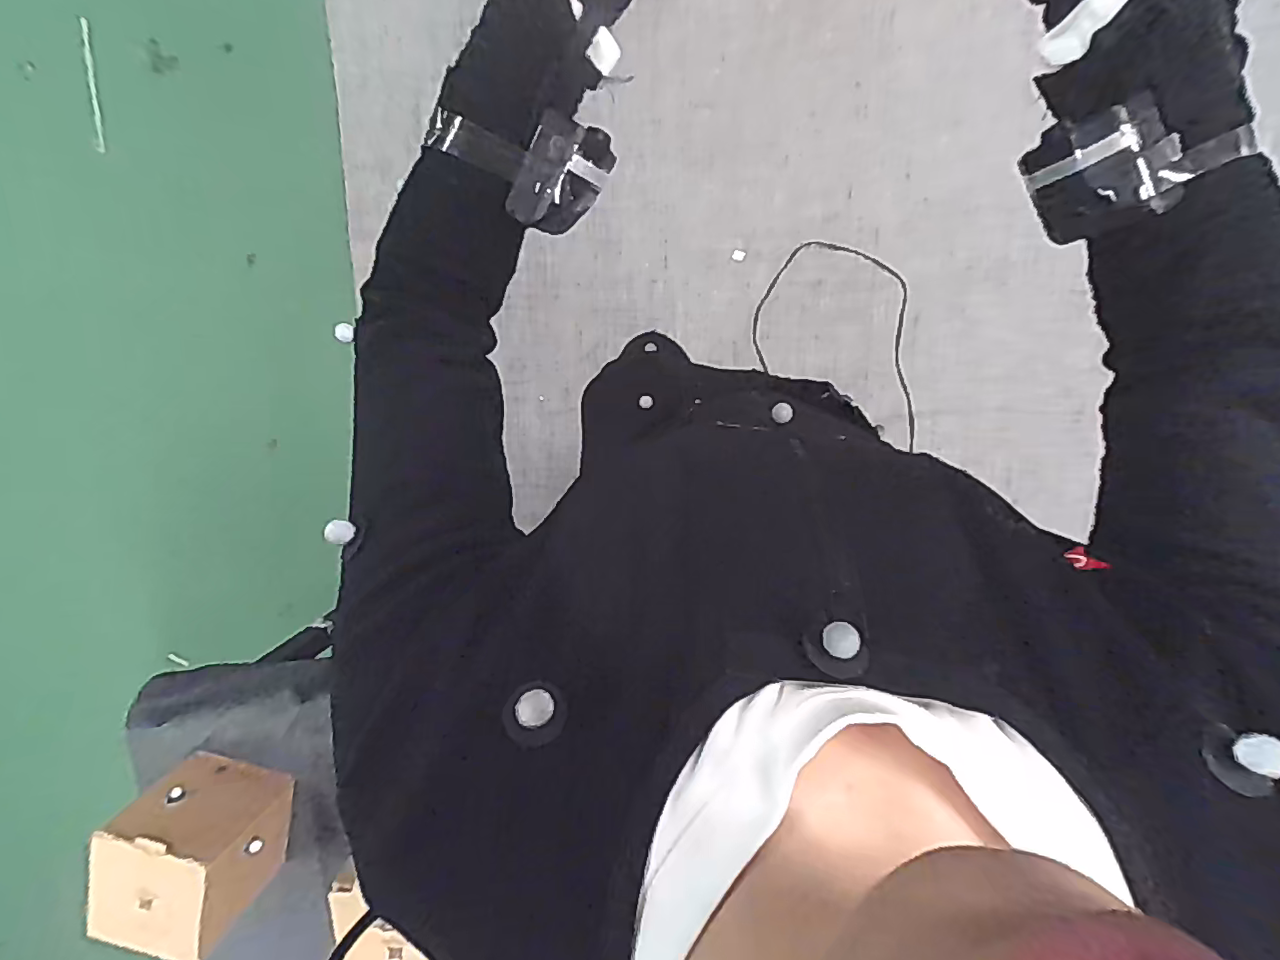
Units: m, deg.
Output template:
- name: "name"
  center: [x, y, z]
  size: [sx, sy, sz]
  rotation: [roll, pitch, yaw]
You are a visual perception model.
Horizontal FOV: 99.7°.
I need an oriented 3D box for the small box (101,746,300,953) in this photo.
- name: "small box"
  center: [-0.649, 0.542, 0.816]
  size: [0.168, 0.176, 0.179]
  rotation: [14, 104, 3]
